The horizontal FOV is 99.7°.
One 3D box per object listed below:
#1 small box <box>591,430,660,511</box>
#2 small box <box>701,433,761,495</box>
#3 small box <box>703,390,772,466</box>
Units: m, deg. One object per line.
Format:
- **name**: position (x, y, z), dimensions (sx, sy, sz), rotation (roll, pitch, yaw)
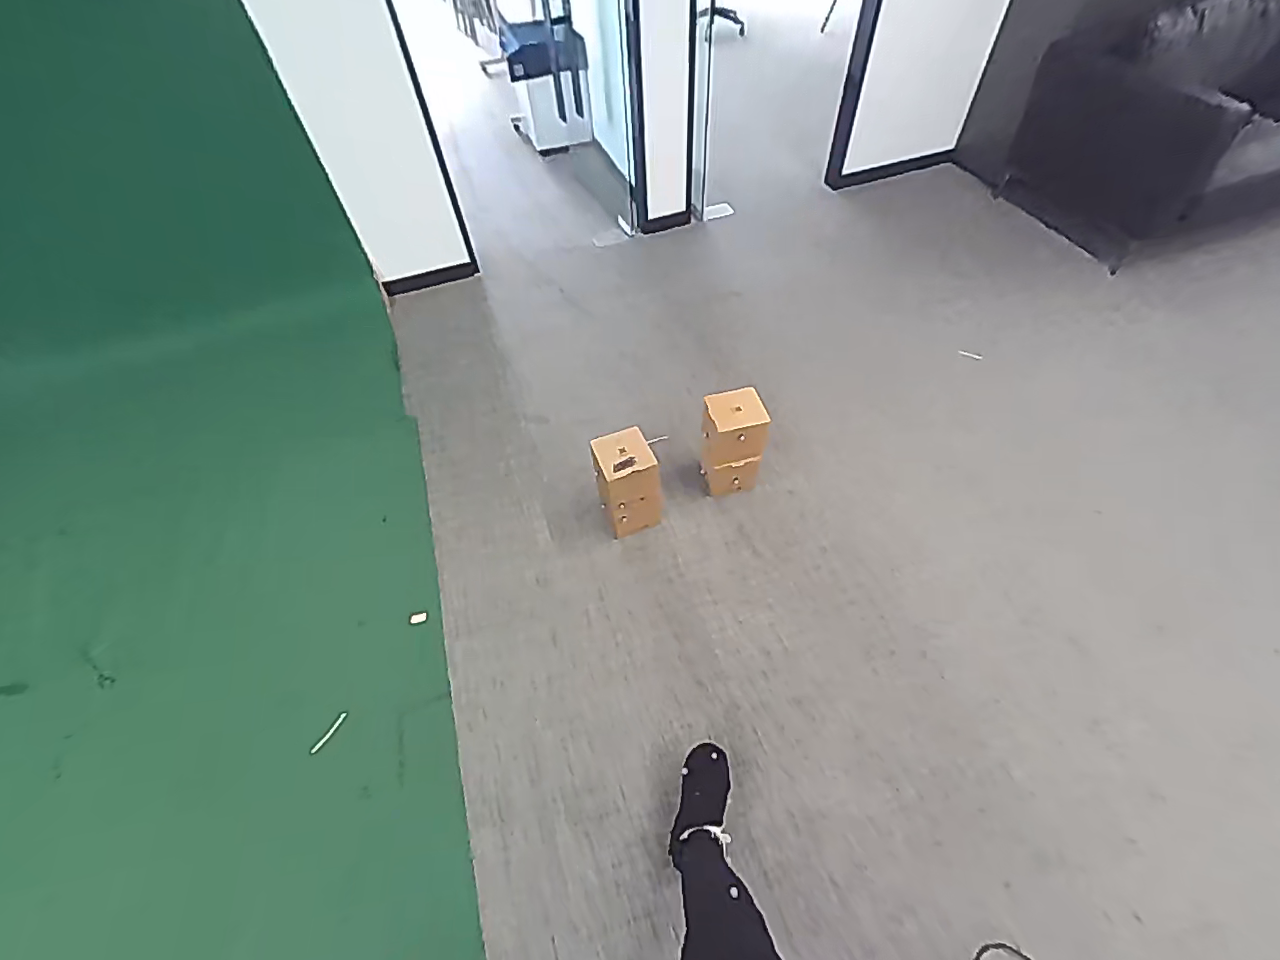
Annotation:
- **small box**: position (-0.042, -0.024, 1.712), dimensions (0.168, 0.176, 0.179), rotation (-19, 53, -11)
- **small box**: position (0.319, -0.064, 1.921), dimensions (0.168, 0.176, 0.179), rotation (-11, 54, -5)
- **small box**: position (0.317, -0.170, 1.797), dimensions (0.179, 0.176, 0.168), rotation (-13, 53, -5)
